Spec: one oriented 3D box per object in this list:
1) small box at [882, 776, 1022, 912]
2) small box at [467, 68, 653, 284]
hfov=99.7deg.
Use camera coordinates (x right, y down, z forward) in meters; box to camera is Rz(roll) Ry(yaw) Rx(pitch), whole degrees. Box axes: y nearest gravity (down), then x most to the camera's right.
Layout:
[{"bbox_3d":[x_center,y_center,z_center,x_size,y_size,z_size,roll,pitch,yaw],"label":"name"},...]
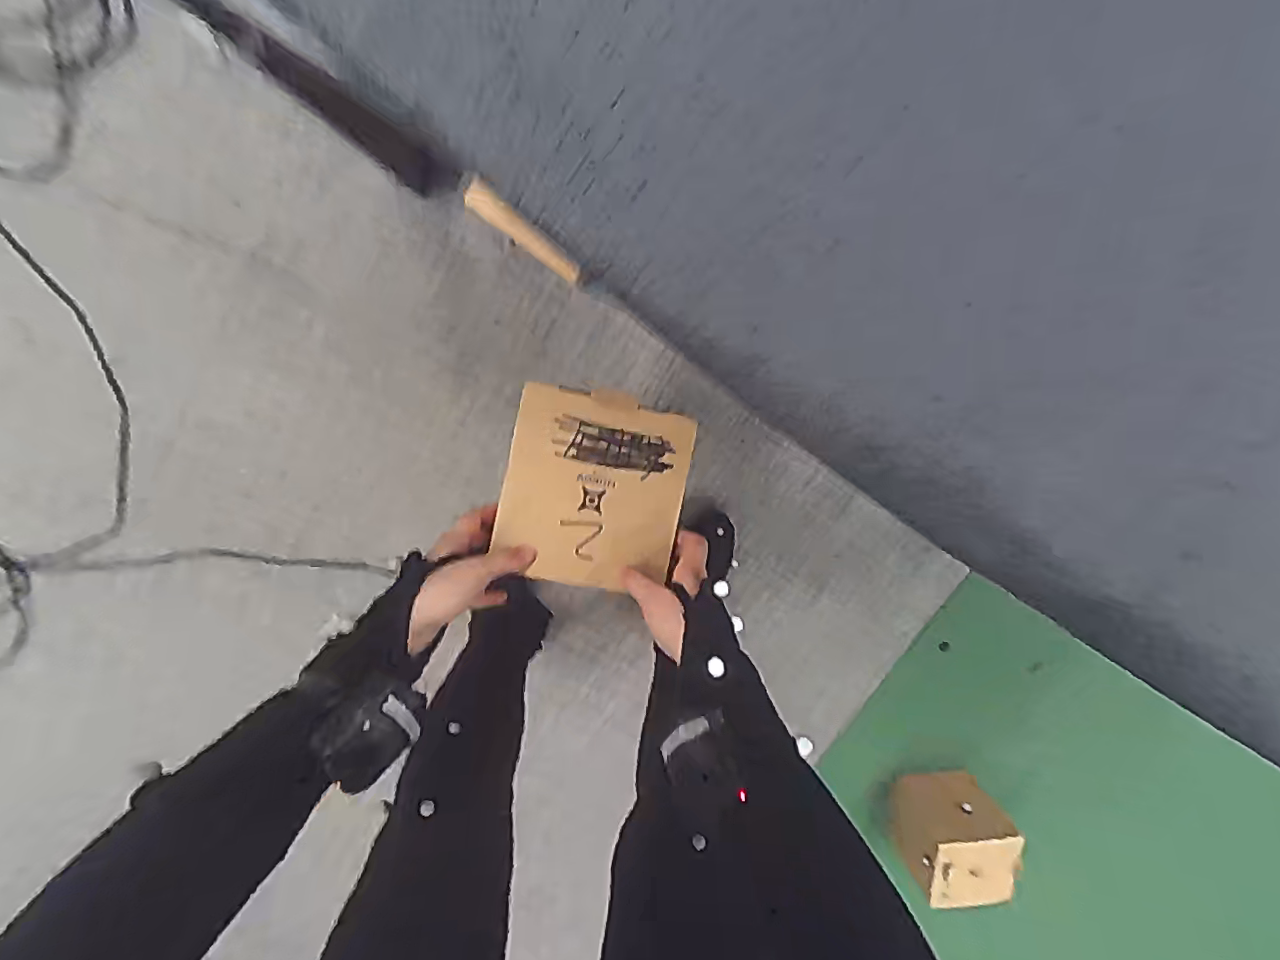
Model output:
[{"bbox_3d":[0.640,0.748,1.128,0.179,0.176,0.168,-2,106,-6],"label":"small box"},{"bbox_3d":[-0.103,-0.389,0.736,0.168,0.176,0.179,34,99,-13],"label":"small box"}]
